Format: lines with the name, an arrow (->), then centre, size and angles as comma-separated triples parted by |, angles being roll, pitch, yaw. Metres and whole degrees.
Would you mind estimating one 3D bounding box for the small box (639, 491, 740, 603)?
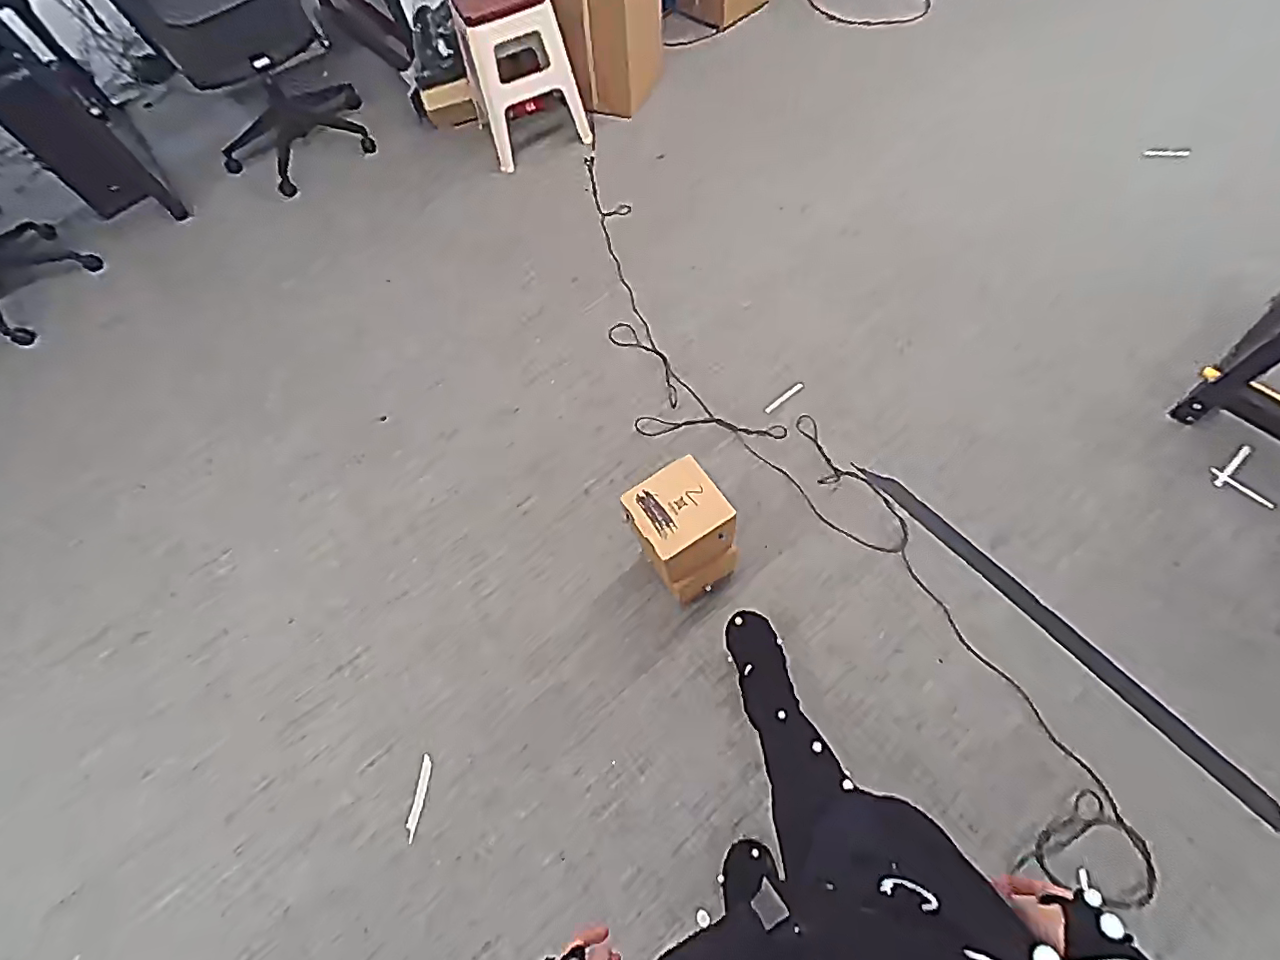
small box -> 0.114, 0.163, 1.273 | 0.168, 0.176, 0.179 | -31, 66, -8
